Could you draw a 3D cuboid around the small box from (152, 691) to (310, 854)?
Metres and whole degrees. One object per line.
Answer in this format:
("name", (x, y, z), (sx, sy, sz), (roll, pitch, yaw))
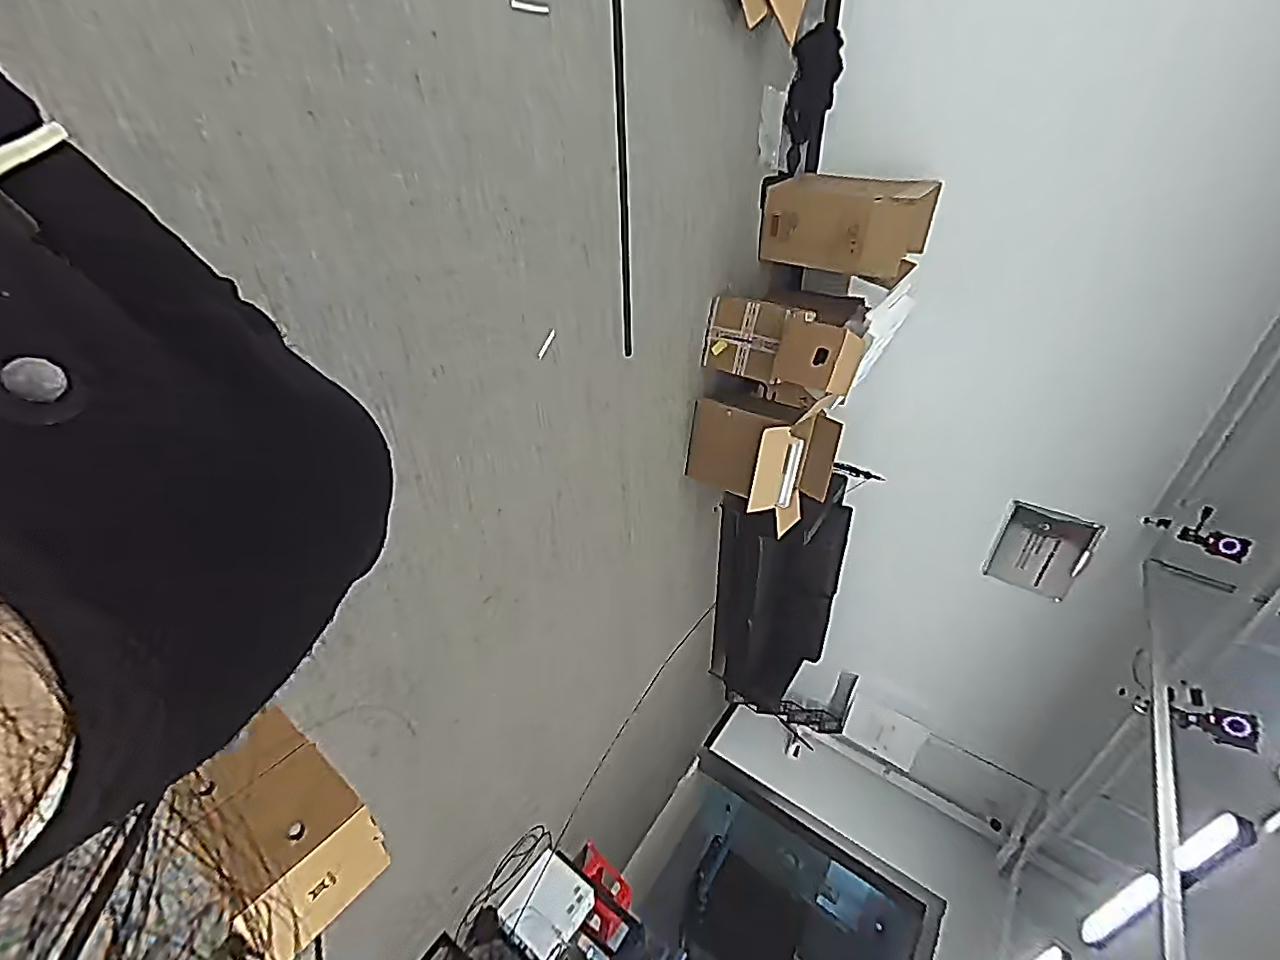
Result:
("small box", (-0.644, 0.488, 0.878), (0.179, 0.176, 0.168), (-35, 136, -44))

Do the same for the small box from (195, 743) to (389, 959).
("small box", (-0.512, 0.540, 0.798), (0.179, 0.176, 0.168), (-35, 135, -45))
